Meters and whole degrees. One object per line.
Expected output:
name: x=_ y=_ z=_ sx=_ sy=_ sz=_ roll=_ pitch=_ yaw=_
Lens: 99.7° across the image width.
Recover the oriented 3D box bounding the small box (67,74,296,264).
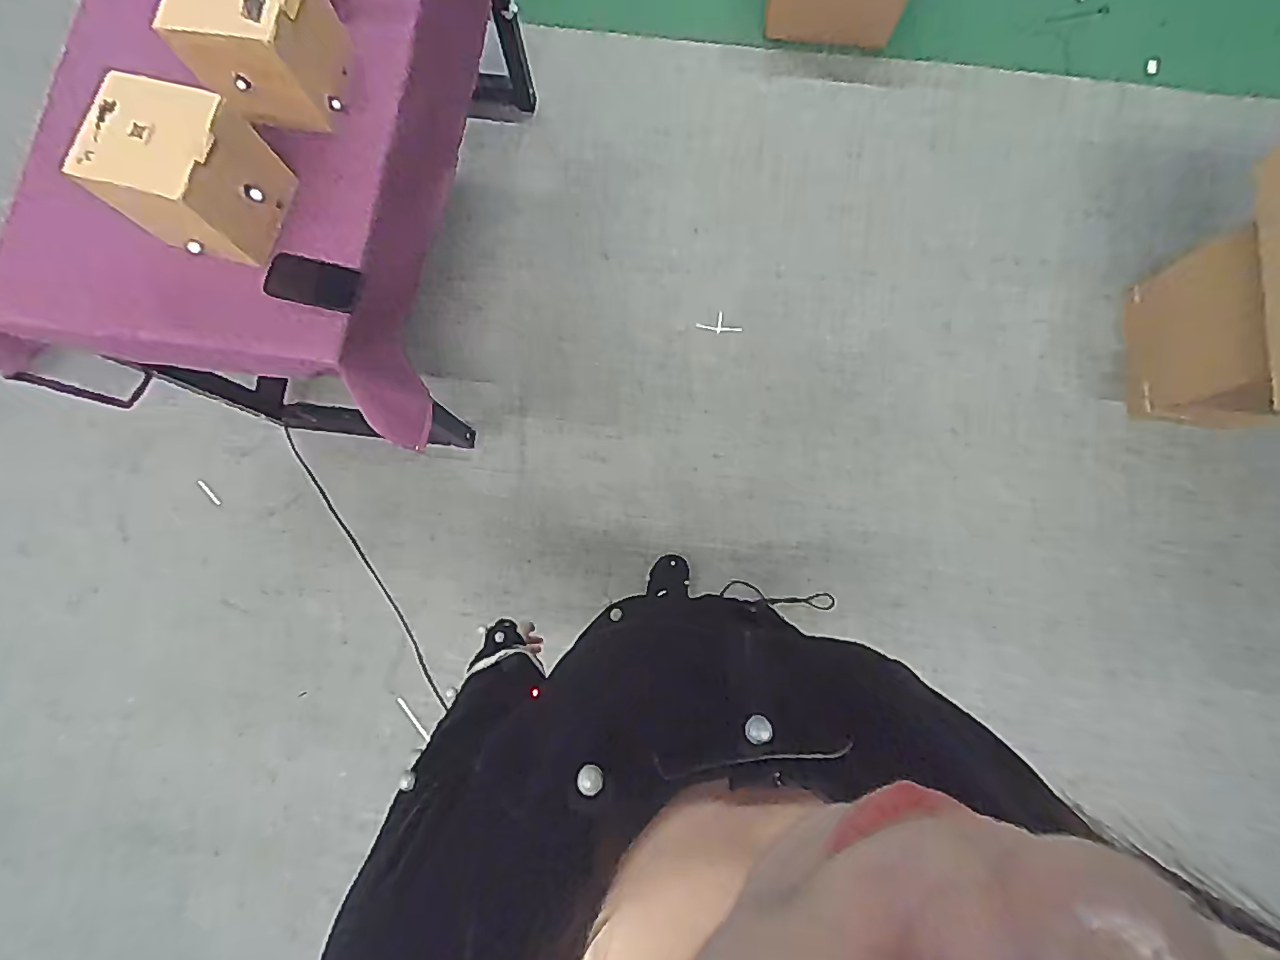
small box: x=-0.671 y=-0.455 z=0.818 sx=0.179 sy=0.176 sz=0.168 roll=15 pitch=81 yaw=3

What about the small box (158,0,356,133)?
small box: x=-0.586 y=-0.687 z=0.855 sx=0.179 sy=0.176 sz=0.168 roll=8 pitch=80 yaw=3
